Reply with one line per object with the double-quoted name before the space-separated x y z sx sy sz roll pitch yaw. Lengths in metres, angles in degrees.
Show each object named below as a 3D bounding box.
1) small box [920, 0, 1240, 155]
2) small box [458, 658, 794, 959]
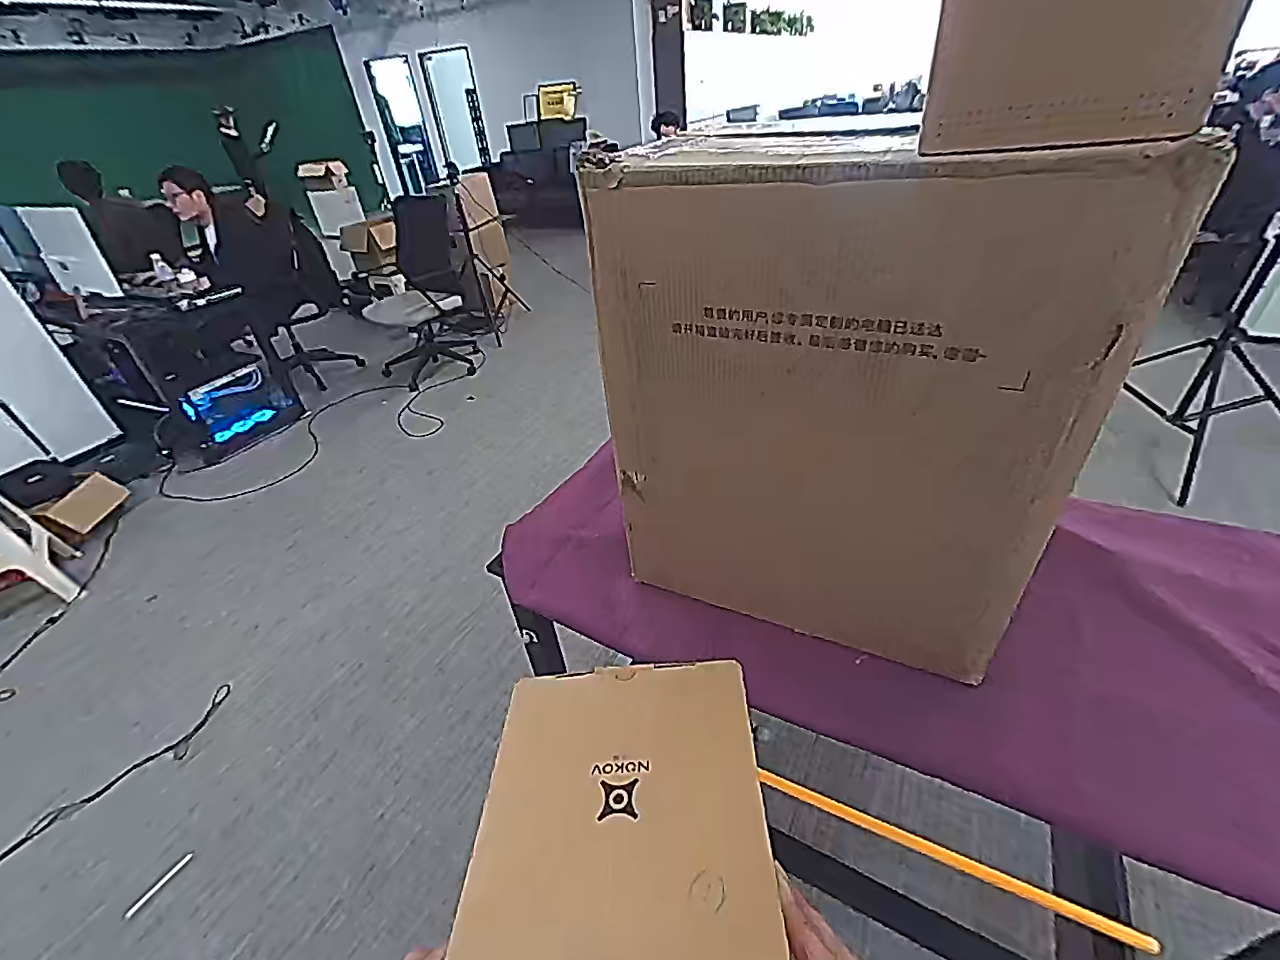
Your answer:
"small box" 0.325 -0.358 0.413 0.179 0.176 0.168 10 40 24
"small box" 0.006 0.250 0.358 0.168 0.176 0.179 -8 31 5
